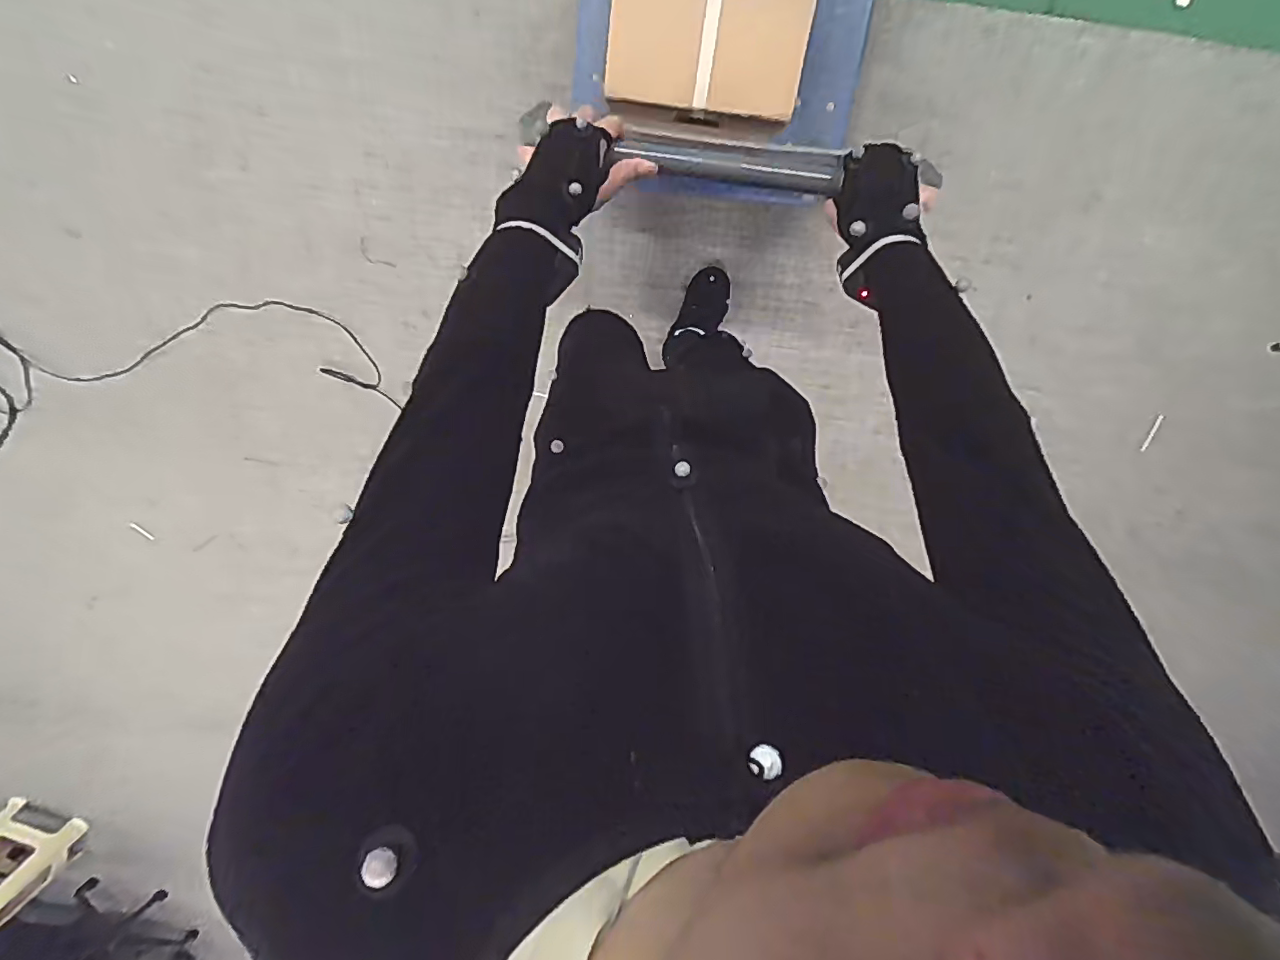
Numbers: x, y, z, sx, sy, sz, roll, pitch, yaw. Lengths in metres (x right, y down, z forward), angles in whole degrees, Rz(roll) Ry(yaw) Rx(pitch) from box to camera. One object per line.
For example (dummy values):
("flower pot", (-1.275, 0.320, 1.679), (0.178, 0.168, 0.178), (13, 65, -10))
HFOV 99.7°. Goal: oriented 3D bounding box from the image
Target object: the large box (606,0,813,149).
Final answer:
("large box", (0.125, -0.849, 0.951), (0.320, 0.320, 0.408), (7, 113, -1))
